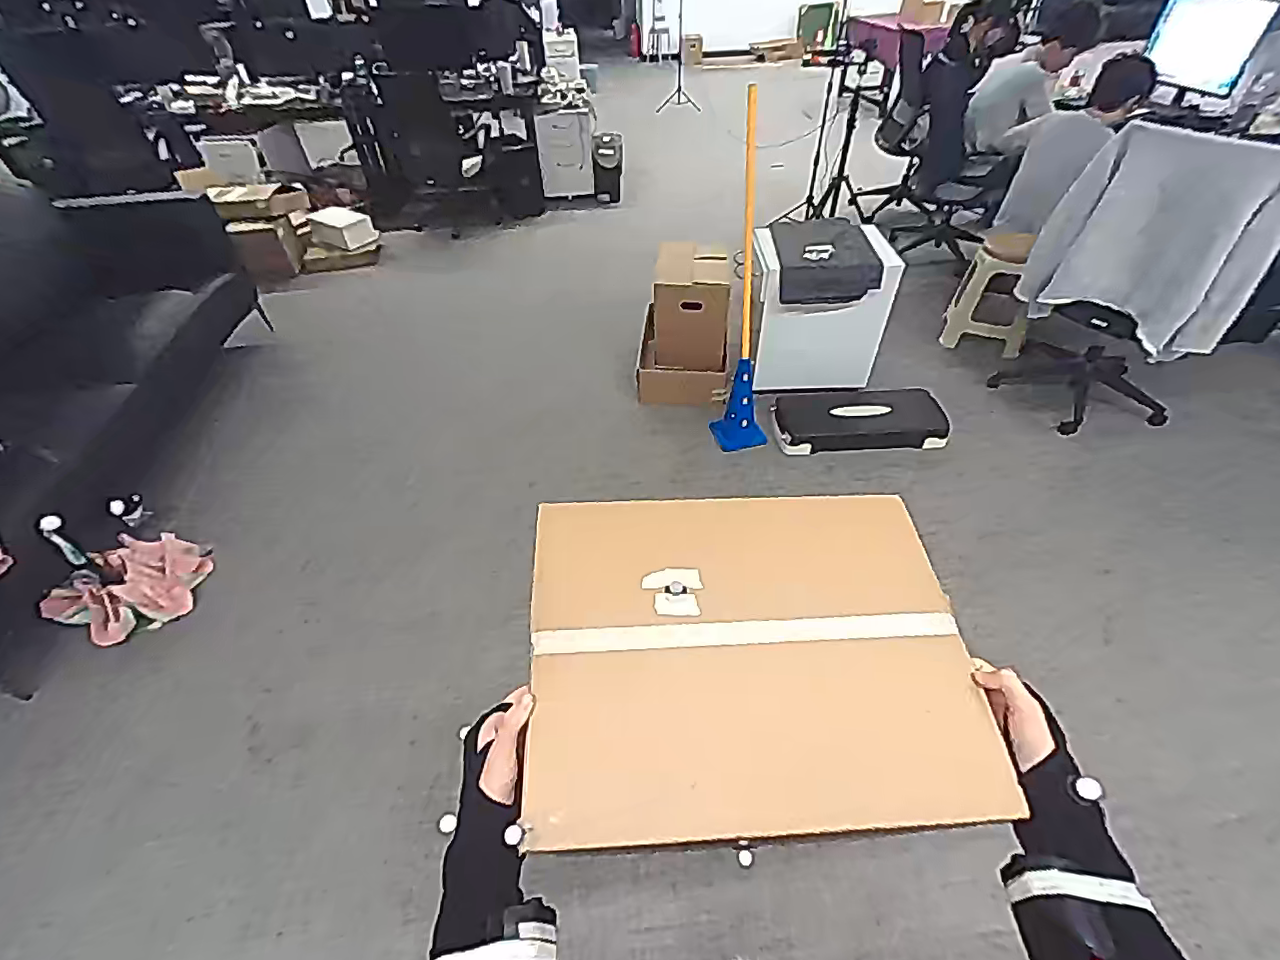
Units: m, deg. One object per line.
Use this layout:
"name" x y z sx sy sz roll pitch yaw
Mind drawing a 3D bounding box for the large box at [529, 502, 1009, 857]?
"large box" 0.098 0.244 0.640 0.408 0.320 0.320 -2 54 -3
